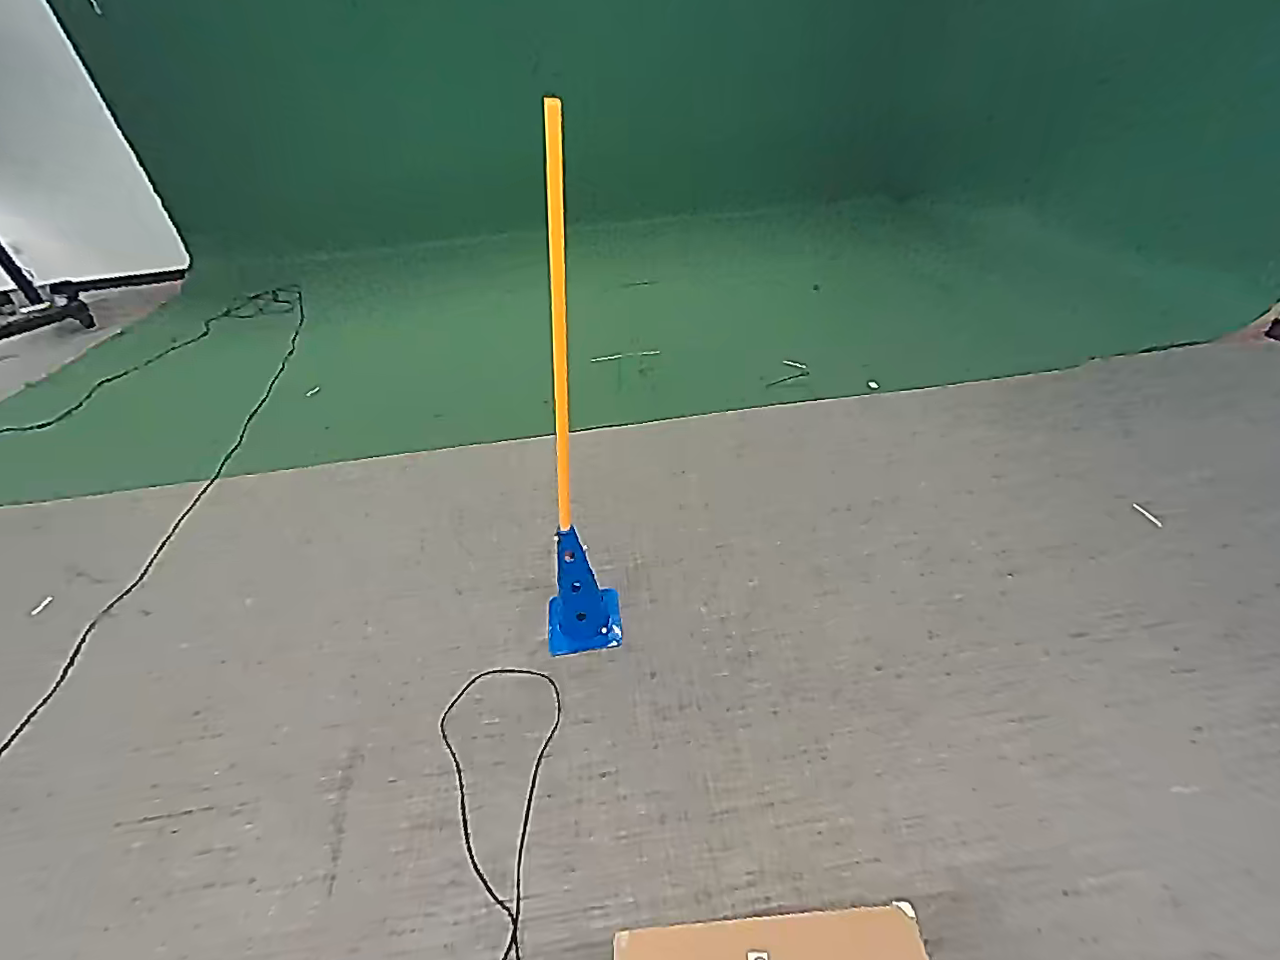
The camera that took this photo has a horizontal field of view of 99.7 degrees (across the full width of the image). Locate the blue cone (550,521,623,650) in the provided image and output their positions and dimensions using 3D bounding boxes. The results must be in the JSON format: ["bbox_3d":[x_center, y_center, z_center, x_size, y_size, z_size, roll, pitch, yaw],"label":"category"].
[{"bbox_3d":[-0.160,0.248,1.393,0.193,0.380,0.192,-8,39,-6],"label":"blue cone"}]
